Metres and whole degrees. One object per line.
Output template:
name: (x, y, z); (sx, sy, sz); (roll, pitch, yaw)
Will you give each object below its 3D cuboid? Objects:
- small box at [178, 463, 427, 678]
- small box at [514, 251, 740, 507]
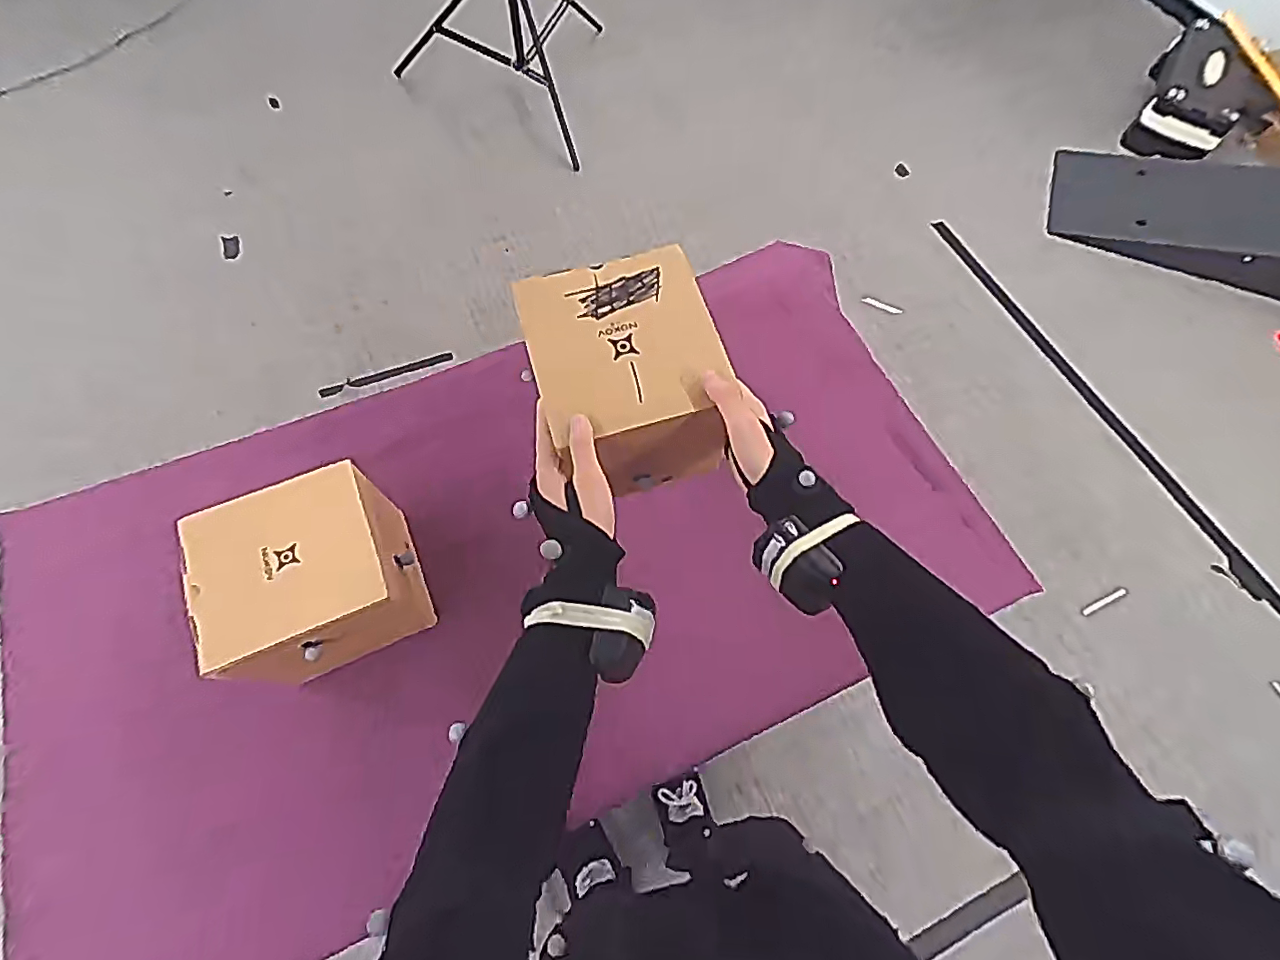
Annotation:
small box: (-0.361, 0.109, 0.614); (0.179, 0.176, 0.168); (-23, 70, -11)
small box: (-0.018, -0.093, 0.553); (0.168, 0.176, 0.179); (-16, 71, -6)
